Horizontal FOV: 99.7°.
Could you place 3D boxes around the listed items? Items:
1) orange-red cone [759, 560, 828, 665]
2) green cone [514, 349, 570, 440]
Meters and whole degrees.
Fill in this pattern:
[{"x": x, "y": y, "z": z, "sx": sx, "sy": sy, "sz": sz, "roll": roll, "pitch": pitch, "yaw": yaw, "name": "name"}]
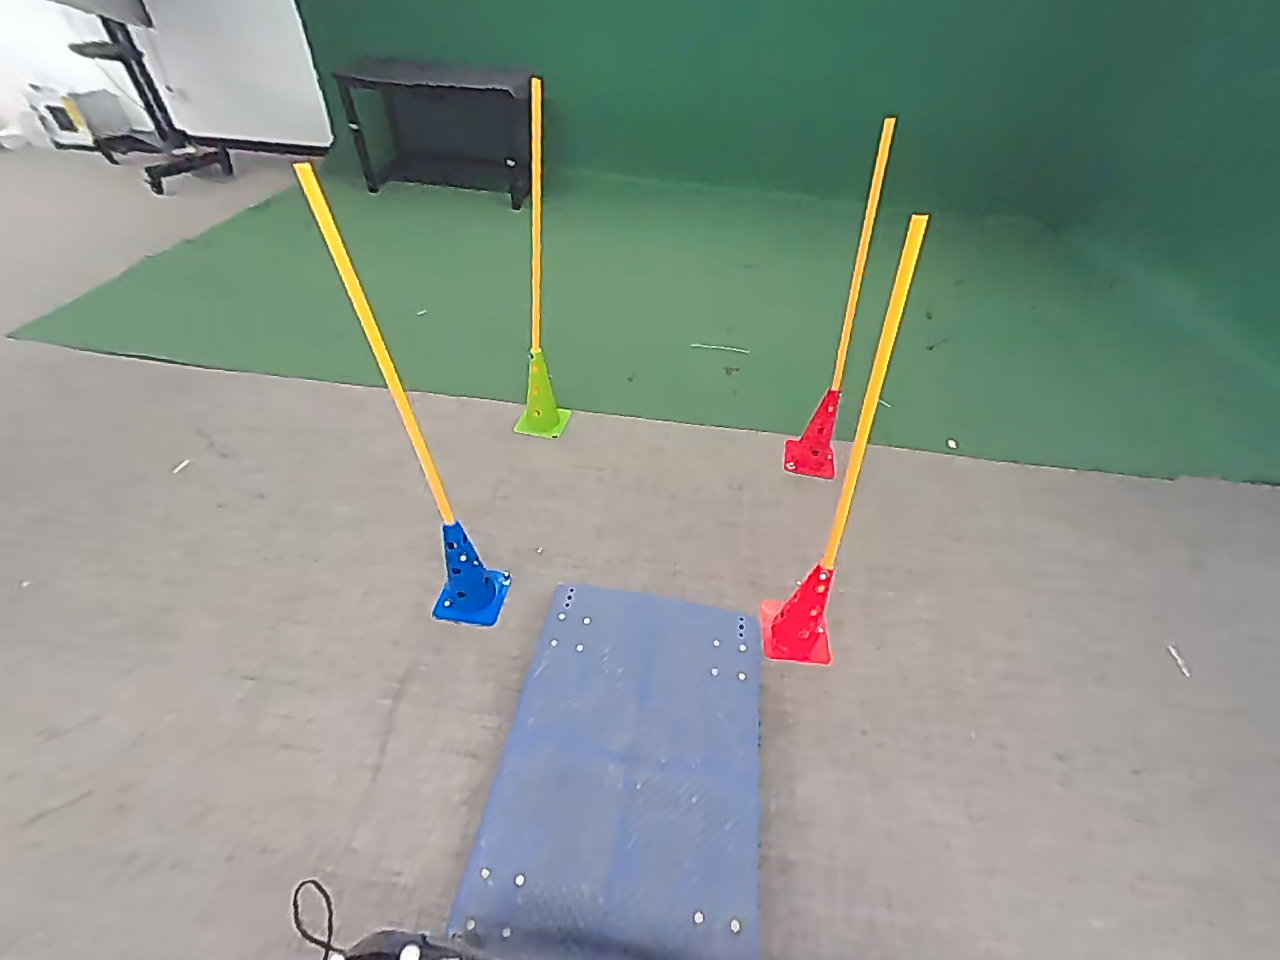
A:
[{"x": 0.476, "y": 0.354, "z": 1.559, "sx": 0.199, "sy": 0.360, "sz": 0.198, "roll": 6, "pitch": 44, "yaw": 4, "name": "orange-red cone"}, {"x": -0.413, "y": -0.370, "z": 2.213, "sx": 0.202, "sy": 0.368, "sz": 0.200, "roll": 10, "pitch": 45, "yaw": 7, "name": "green cone"}]
